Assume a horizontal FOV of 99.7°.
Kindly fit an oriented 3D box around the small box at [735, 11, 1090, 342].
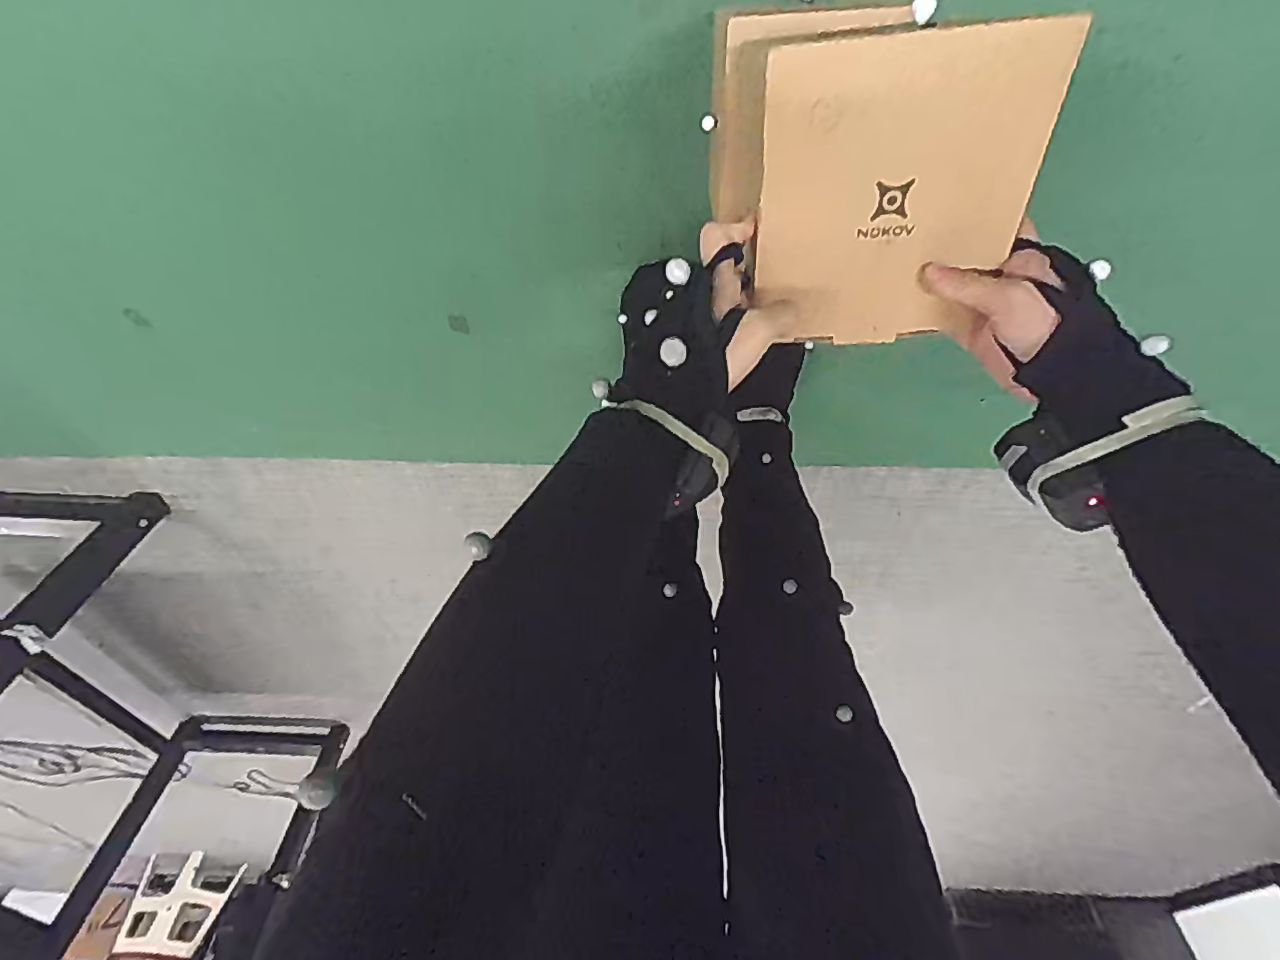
[{"bbox_3d":[0.161,-0.221,0.399,0.168,0.176,0.179,-1,130,5],"label":"small box"}]
